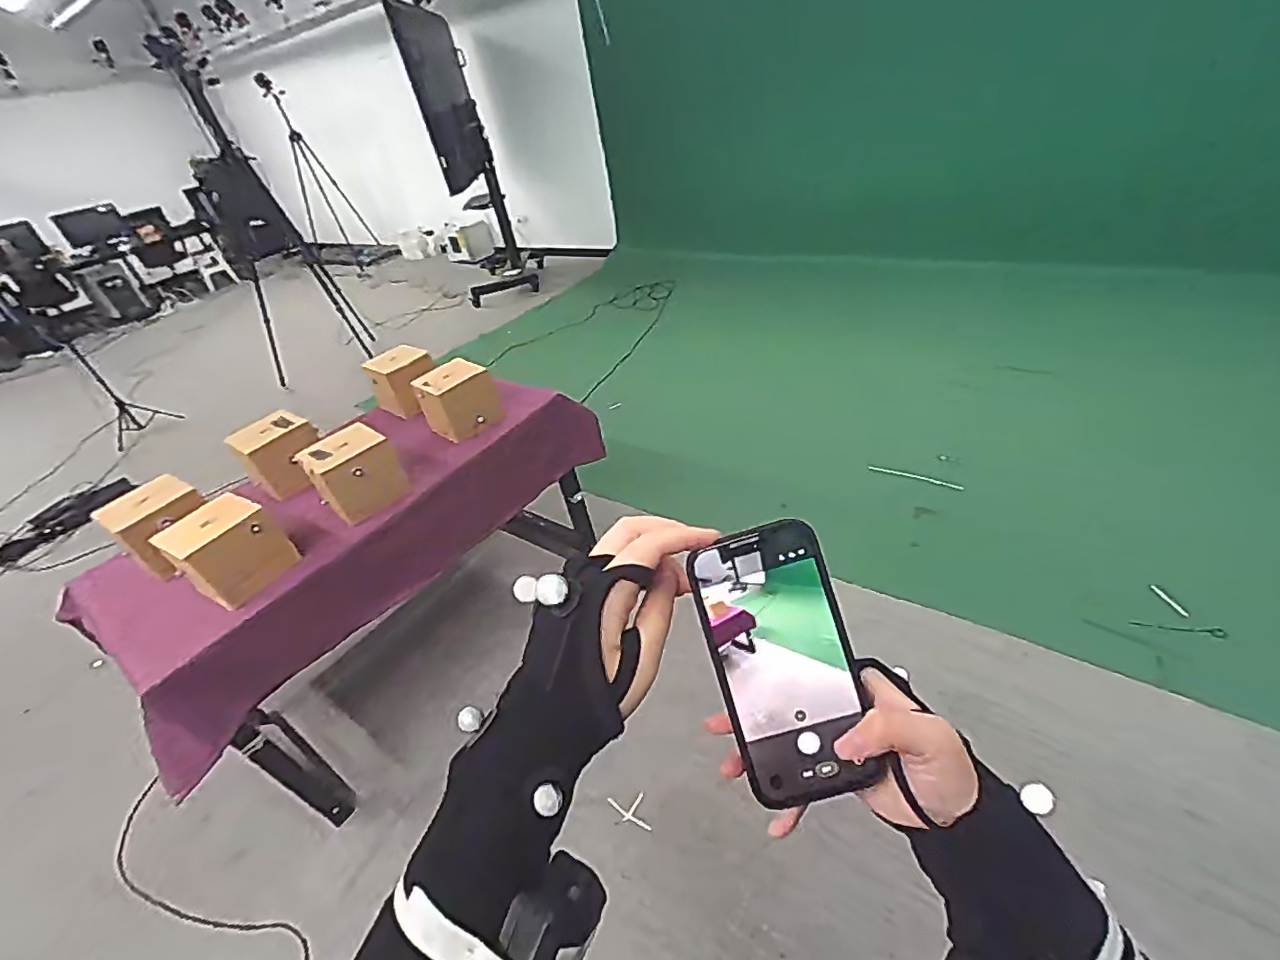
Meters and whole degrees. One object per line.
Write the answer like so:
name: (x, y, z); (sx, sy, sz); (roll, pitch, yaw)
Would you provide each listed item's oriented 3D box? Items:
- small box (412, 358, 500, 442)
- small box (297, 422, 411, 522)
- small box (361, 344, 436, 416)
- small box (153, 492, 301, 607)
small box: (-0.543, -0.241, 1.625); (0.168, 0.176, 0.179); (24, 49, 38)
small box: (-0.728, -0.020, 1.391); (0.168, 0.176, 0.179); (23, 48, 37)
small box: (-0.785, -0.331, 1.803); (0.179, 0.176, 0.168); (21, 49, 35)
small box: (-0.920, 0.157, 1.217); (0.168, 0.176, 0.179); (12, 42, 29)
